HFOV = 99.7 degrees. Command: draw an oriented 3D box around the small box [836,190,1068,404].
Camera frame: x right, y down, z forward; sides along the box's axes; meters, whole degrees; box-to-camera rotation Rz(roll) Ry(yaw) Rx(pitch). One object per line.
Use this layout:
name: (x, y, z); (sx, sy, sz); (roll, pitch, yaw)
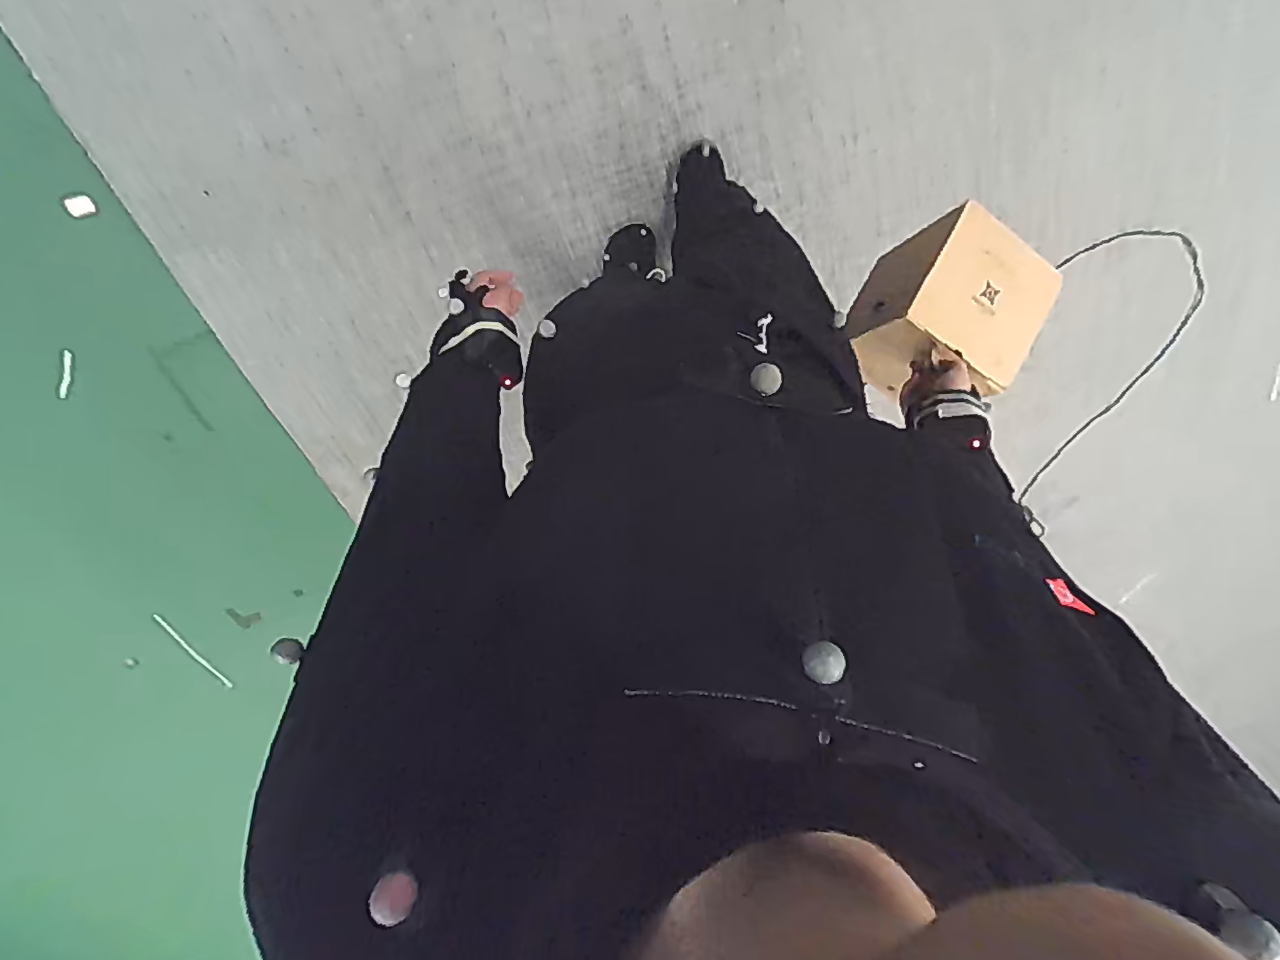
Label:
small box: (0.387, -0.218, 0.701); (0.168, 0.176, 0.179); (31, 81, -11)
